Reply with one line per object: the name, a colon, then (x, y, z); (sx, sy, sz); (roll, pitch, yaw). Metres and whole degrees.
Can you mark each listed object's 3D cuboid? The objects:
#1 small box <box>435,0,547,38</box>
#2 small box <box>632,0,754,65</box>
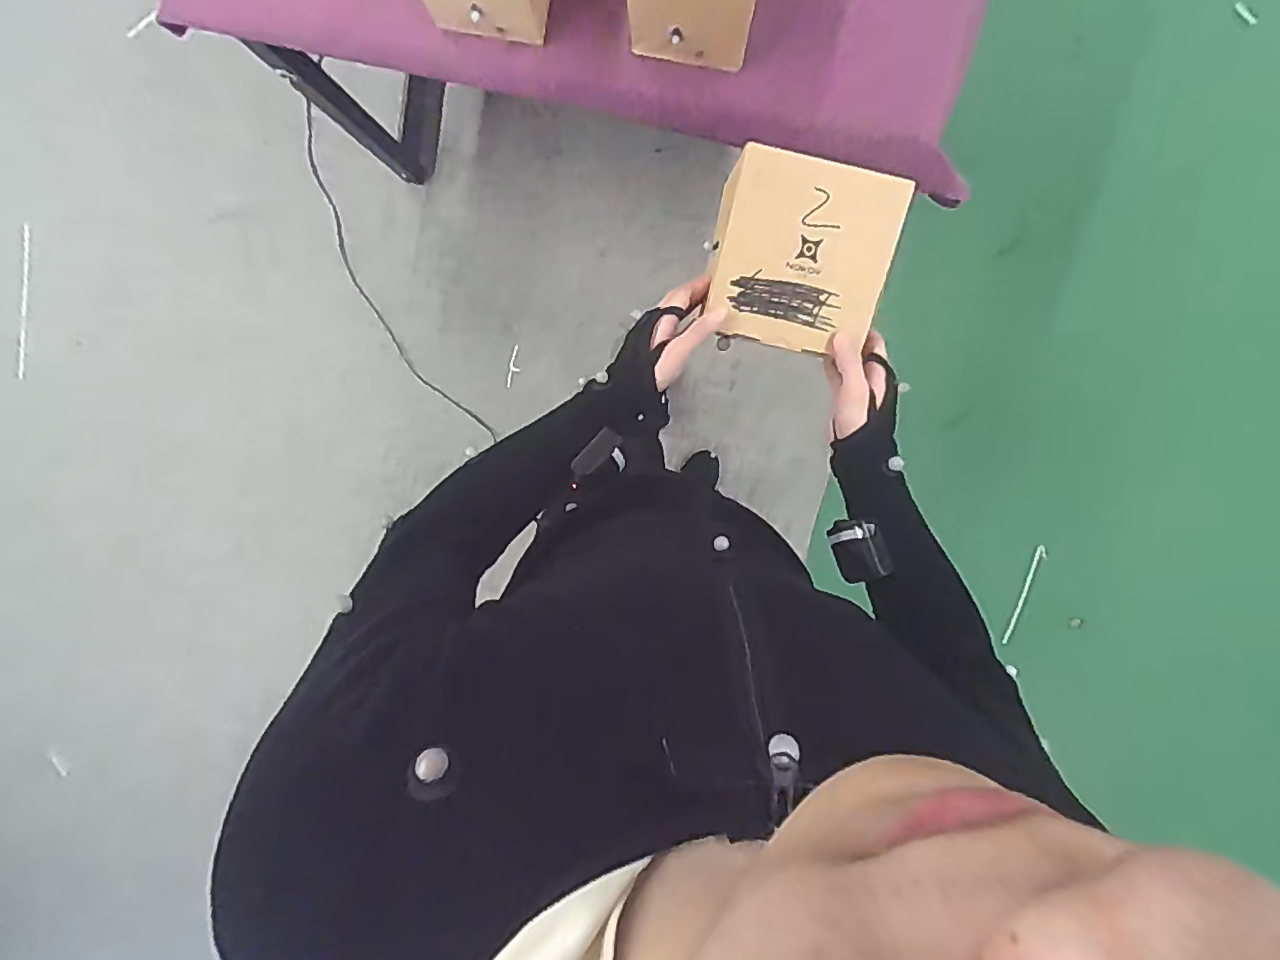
small box: (-0.212, -0.749, 0.717); (0.168, 0.176, 0.179); (11, 97, 1)
small box: (0.081, -0.704, 0.712); (0.168, 0.176, 0.179); (12, 98, 1)
